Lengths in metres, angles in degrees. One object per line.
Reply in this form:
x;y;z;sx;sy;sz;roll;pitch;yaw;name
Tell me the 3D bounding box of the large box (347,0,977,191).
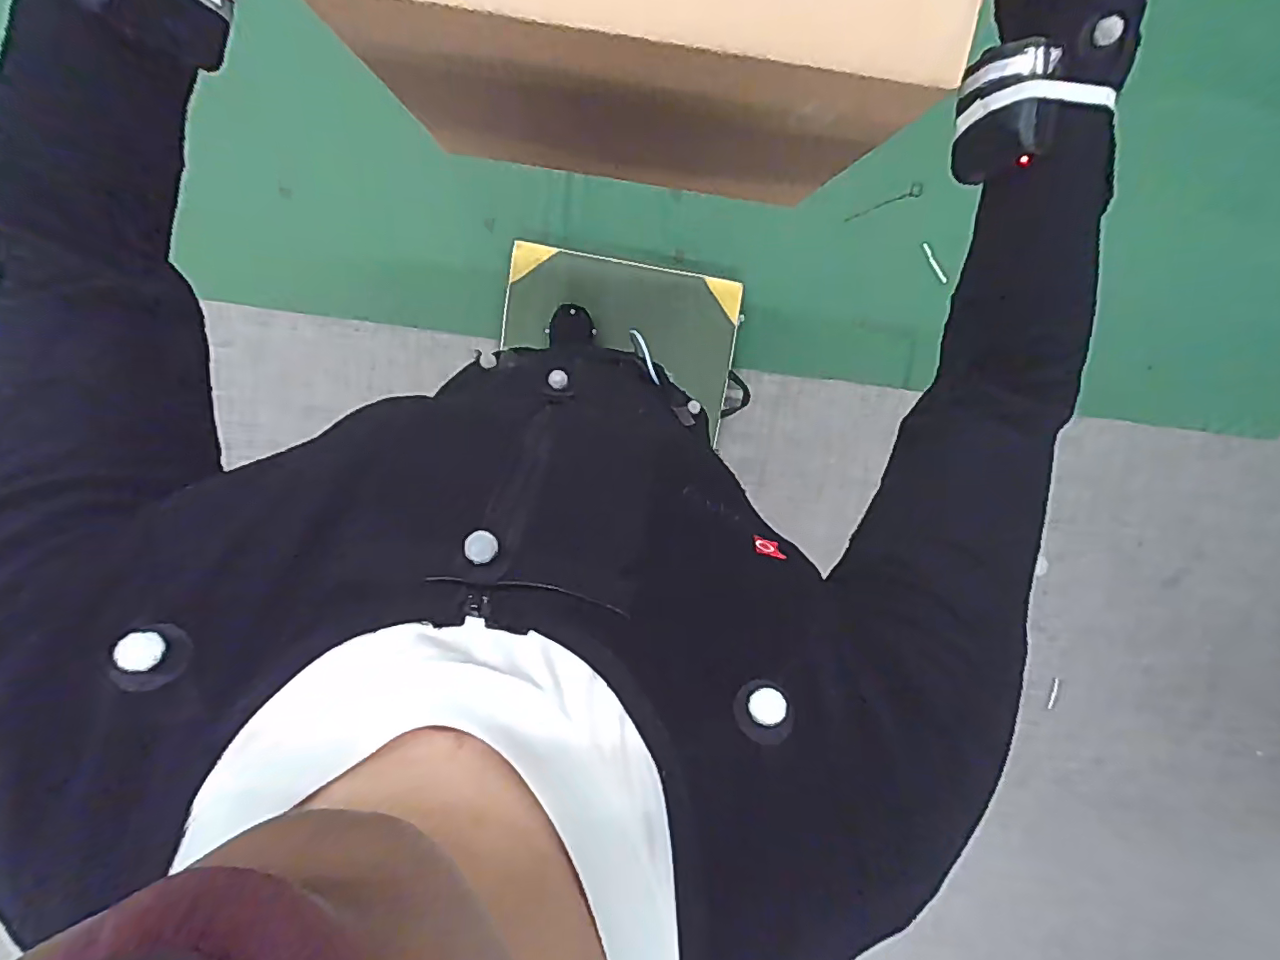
0.015;-0.459;0.434;0.408;0.320;0.320;6;106;-5;large box
